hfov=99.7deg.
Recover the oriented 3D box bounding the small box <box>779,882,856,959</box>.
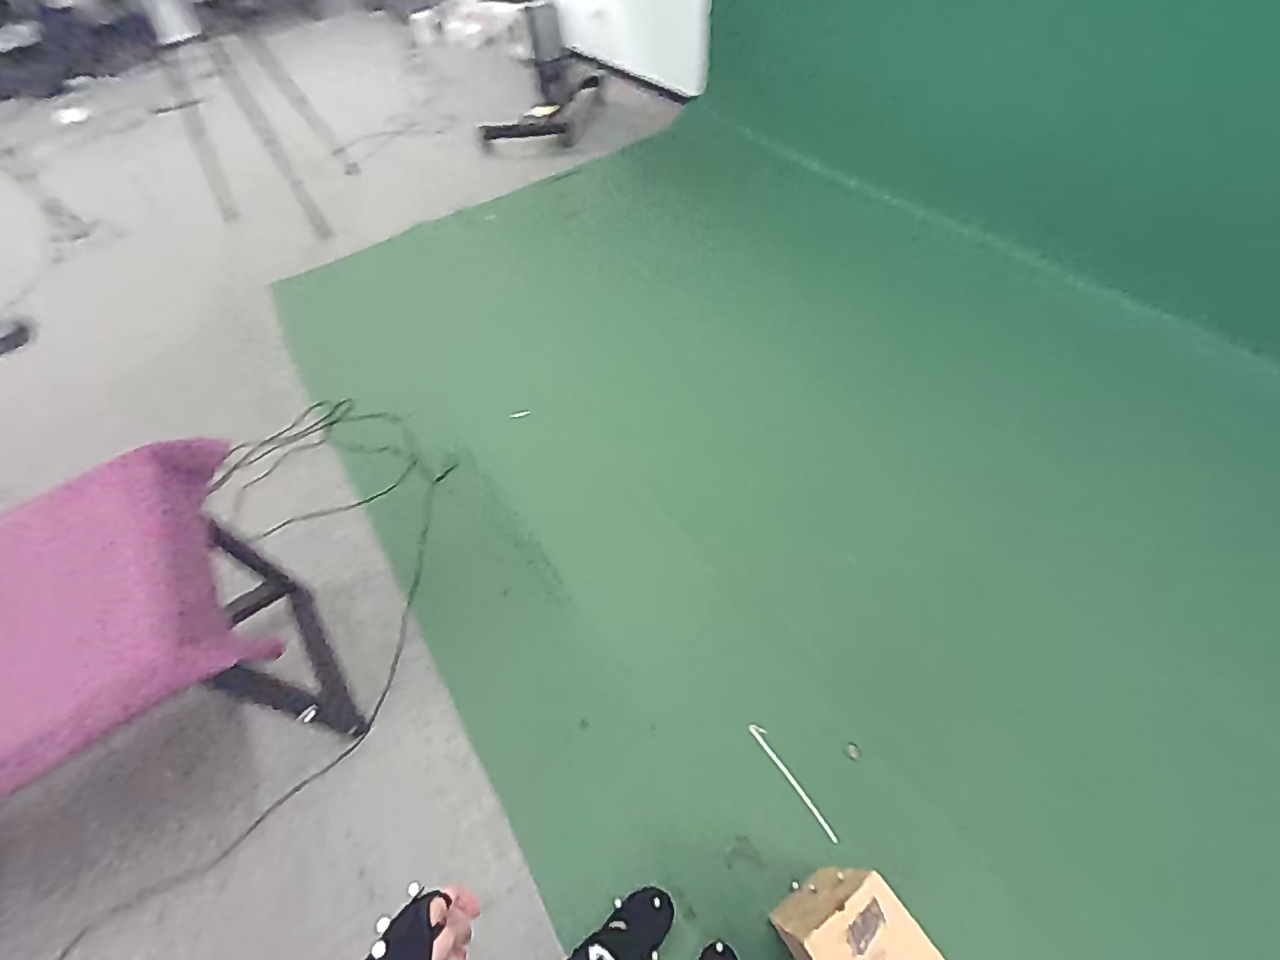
[{"bbox_3d":[0.380,0.883,1.001,0.168,0.176,0.179,-30,56,-15],"label":"small box"}]

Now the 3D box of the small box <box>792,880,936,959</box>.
[{"bbox_3d":[0.368,0.786,0.869,0.168,0.176,0.179,-31,58,-15],"label":"small box"}]

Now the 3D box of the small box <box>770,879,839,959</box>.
[{"bbox_3d":[0.396,0.976,1.133,0.168,0.176,0.179,-29,57,-15],"label":"small box"}]
